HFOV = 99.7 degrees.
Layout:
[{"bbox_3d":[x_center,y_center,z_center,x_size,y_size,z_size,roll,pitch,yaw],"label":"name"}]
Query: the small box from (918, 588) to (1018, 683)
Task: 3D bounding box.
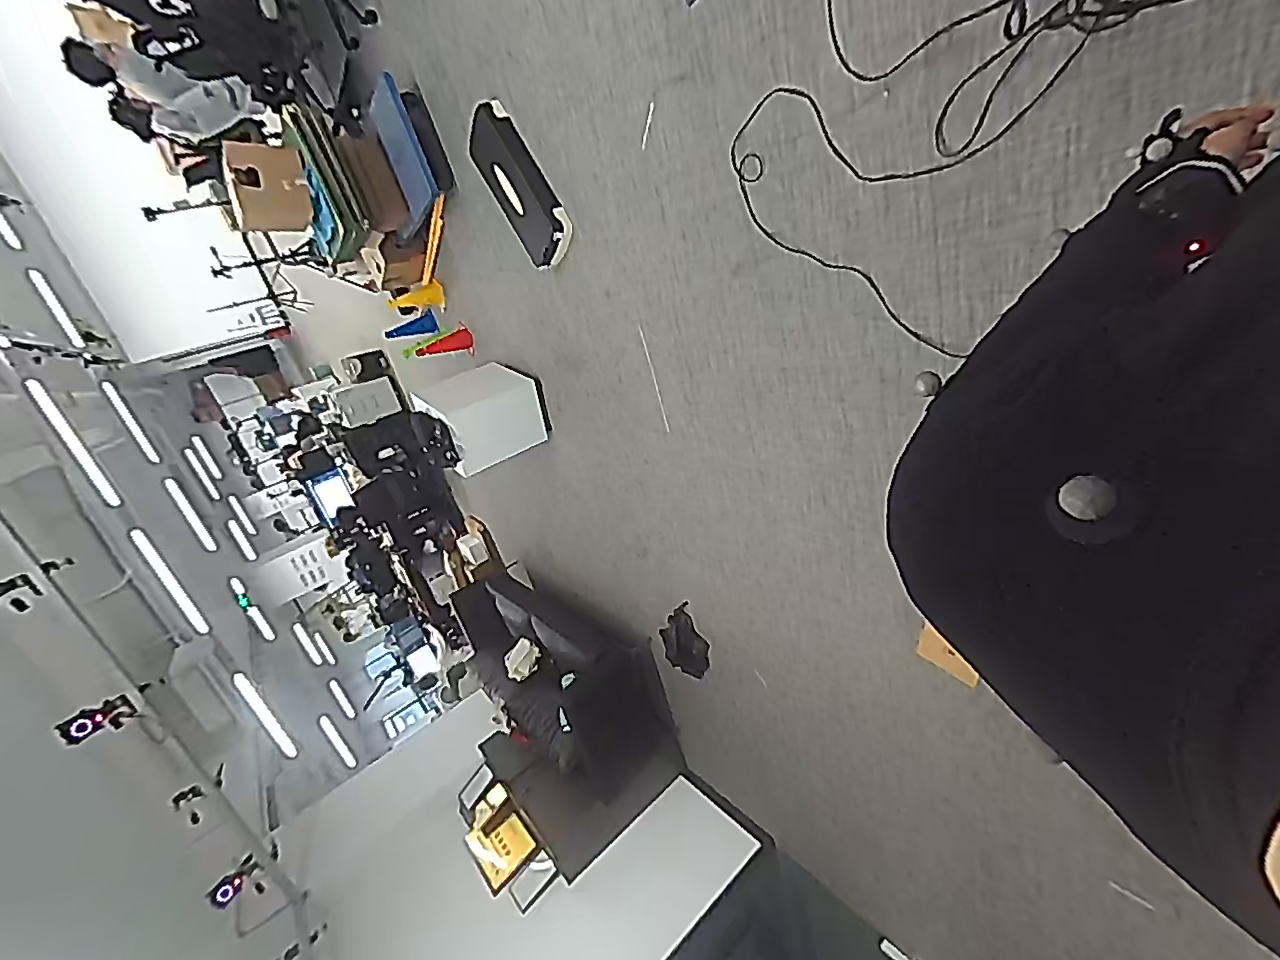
[{"bbox_3d":[0.948,0.439,1.566,0.179,0.176,0.168,31,140,40],"label":"small box"}]
